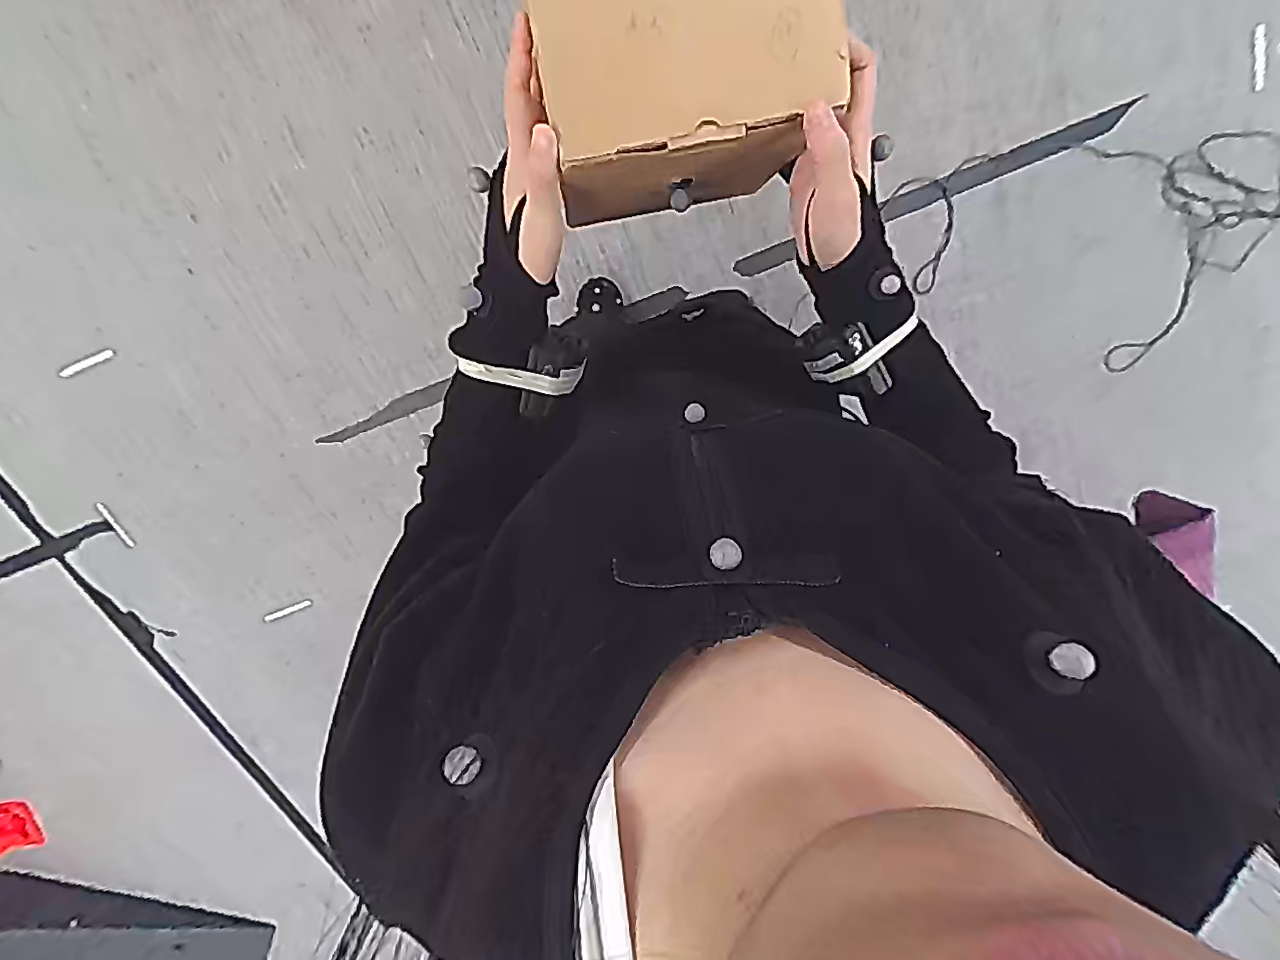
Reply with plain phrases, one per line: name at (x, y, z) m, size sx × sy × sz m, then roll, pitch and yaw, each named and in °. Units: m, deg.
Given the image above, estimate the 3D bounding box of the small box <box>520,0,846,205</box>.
small box at (0.011, -0.293, 0.349) m, size 0.168 × 0.176 × 0.179 m, roll -13°, pitch 106°, yaw -4°
